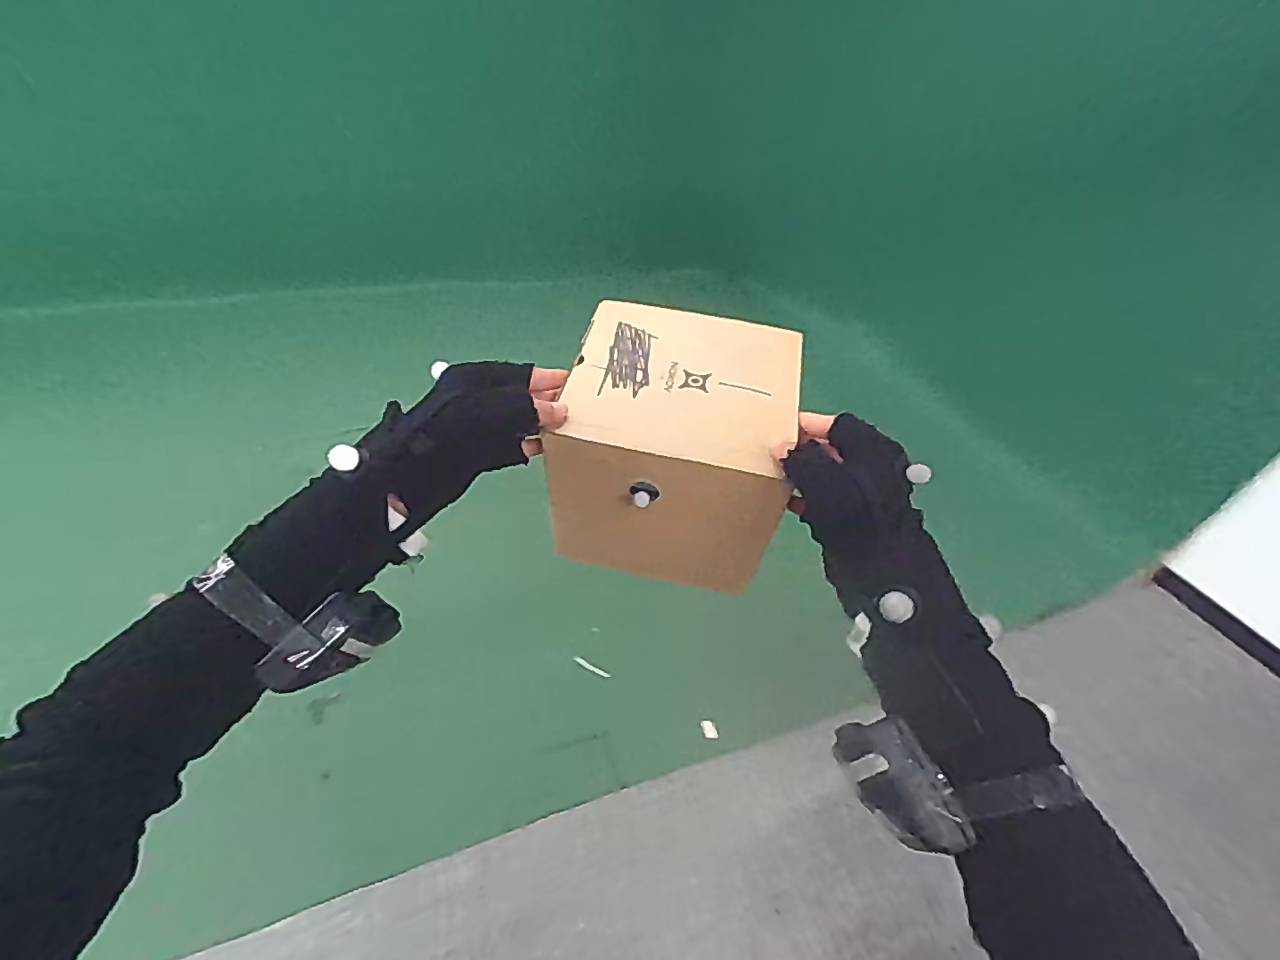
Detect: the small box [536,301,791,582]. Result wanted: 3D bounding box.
[{"bbox_3d":[0.023,-0.029,0.478,0.179,0.176,0.168,11,52,4],"label":"small box"}]
